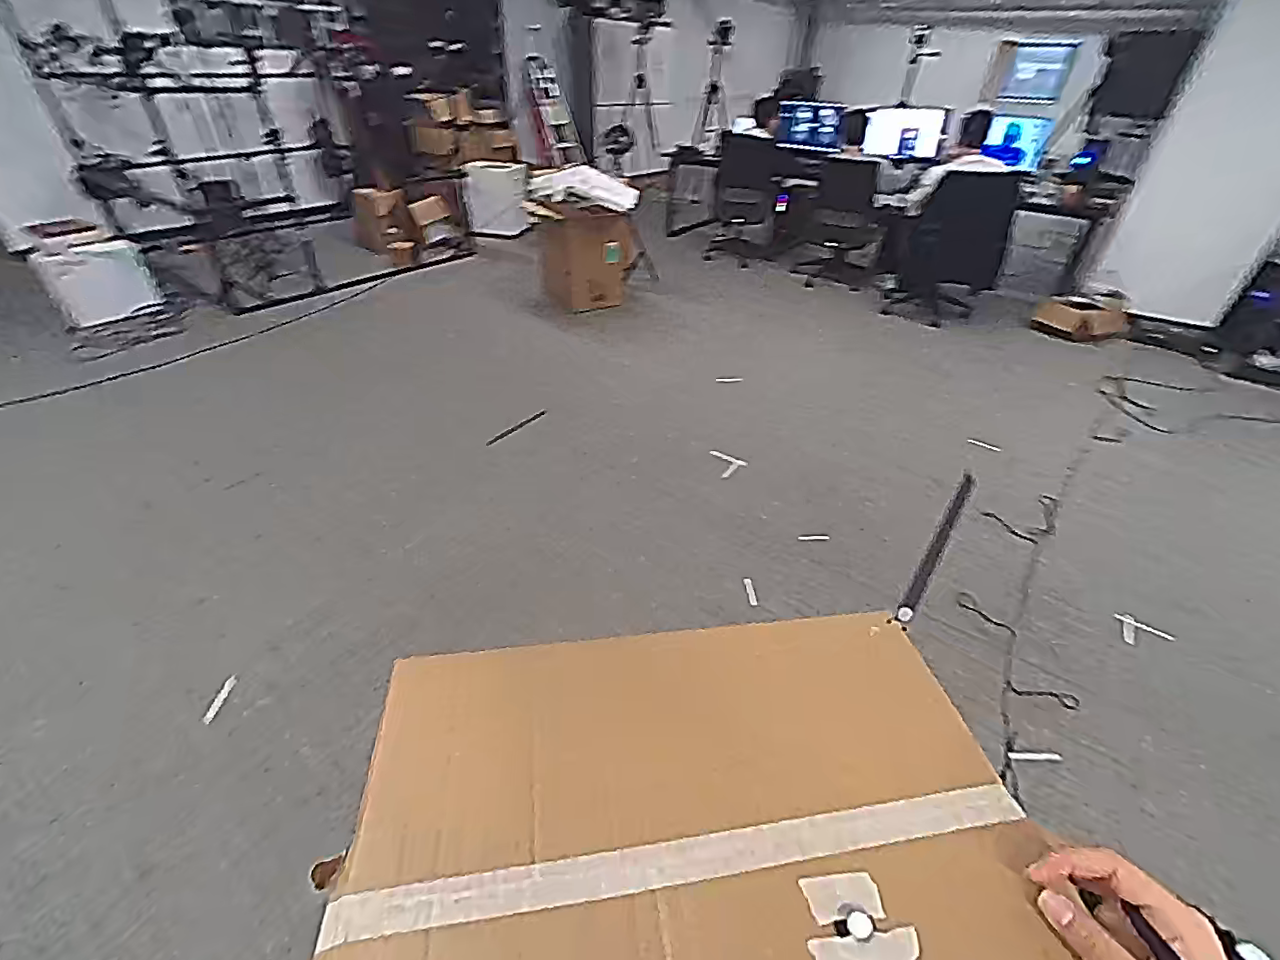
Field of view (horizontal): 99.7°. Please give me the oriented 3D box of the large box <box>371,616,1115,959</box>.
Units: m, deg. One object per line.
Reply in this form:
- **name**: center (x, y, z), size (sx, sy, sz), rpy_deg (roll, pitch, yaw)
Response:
- **large box**: center (0.040, 0.338, 0.418), size (0.408, 0.320, 0.320), rpy_deg (-2, 39, -9)
